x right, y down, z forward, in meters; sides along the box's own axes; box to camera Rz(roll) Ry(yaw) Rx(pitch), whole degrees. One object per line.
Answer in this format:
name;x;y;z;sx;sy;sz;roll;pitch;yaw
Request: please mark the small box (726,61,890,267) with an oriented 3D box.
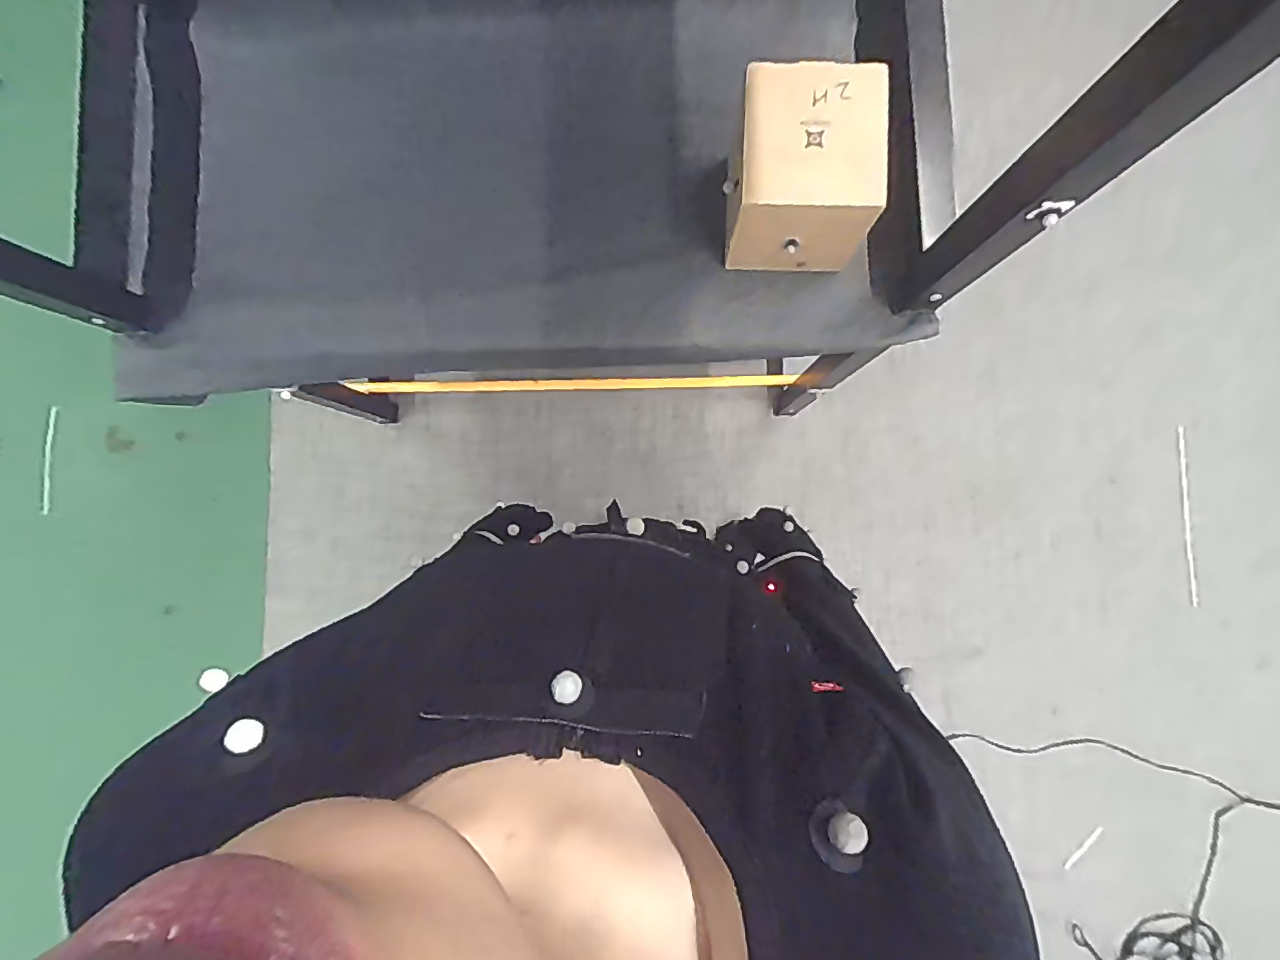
small box;0.206;-0.396;0.704;0.168;0.176;0.179;3;86;2
